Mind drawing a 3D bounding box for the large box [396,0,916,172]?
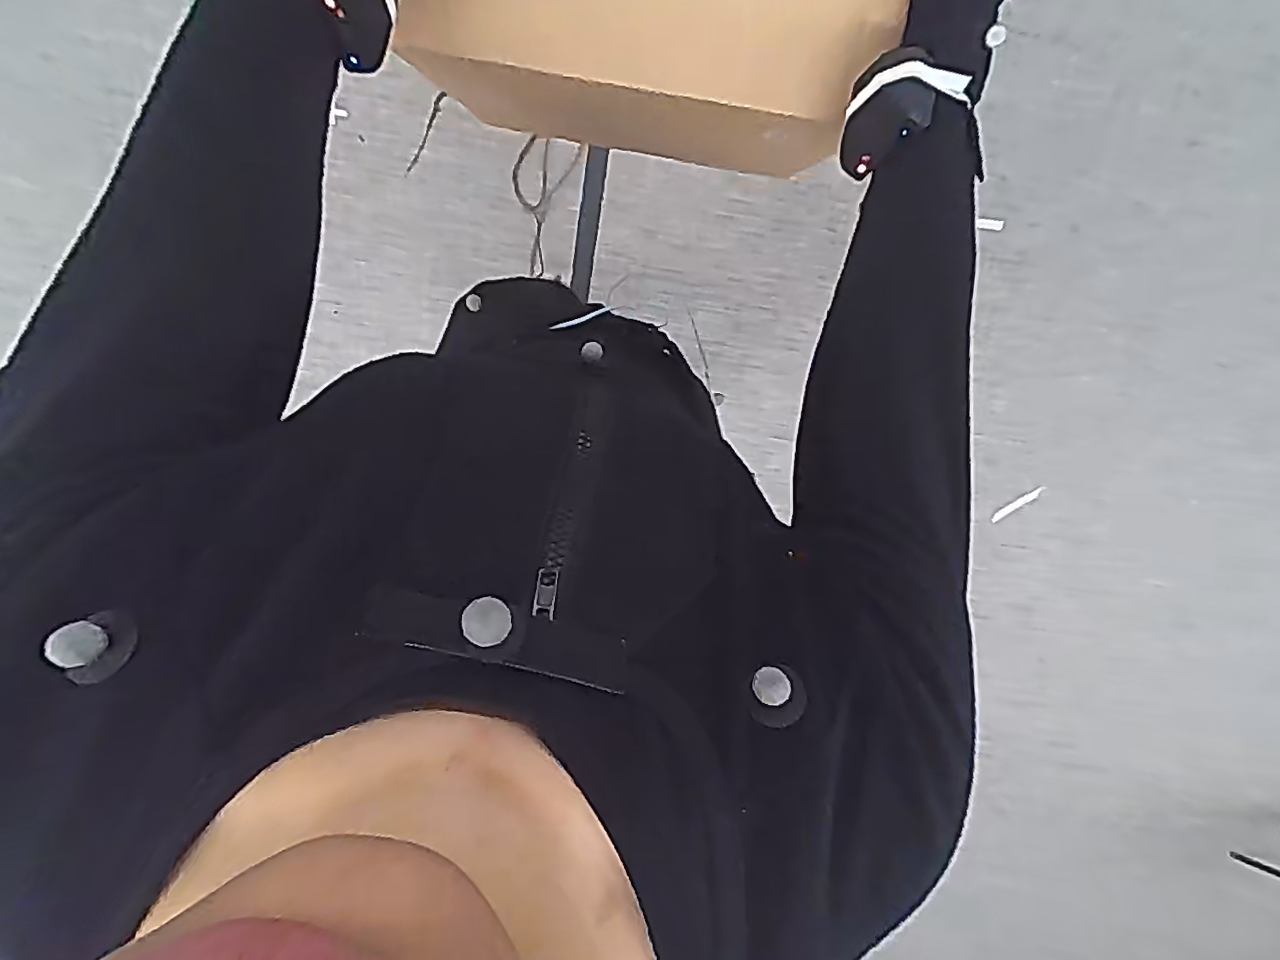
[{"bbox_3d":[0.025,-0.513,0.512,0.408,0.320,0.320,8,114,-3],"label":"large box"}]
